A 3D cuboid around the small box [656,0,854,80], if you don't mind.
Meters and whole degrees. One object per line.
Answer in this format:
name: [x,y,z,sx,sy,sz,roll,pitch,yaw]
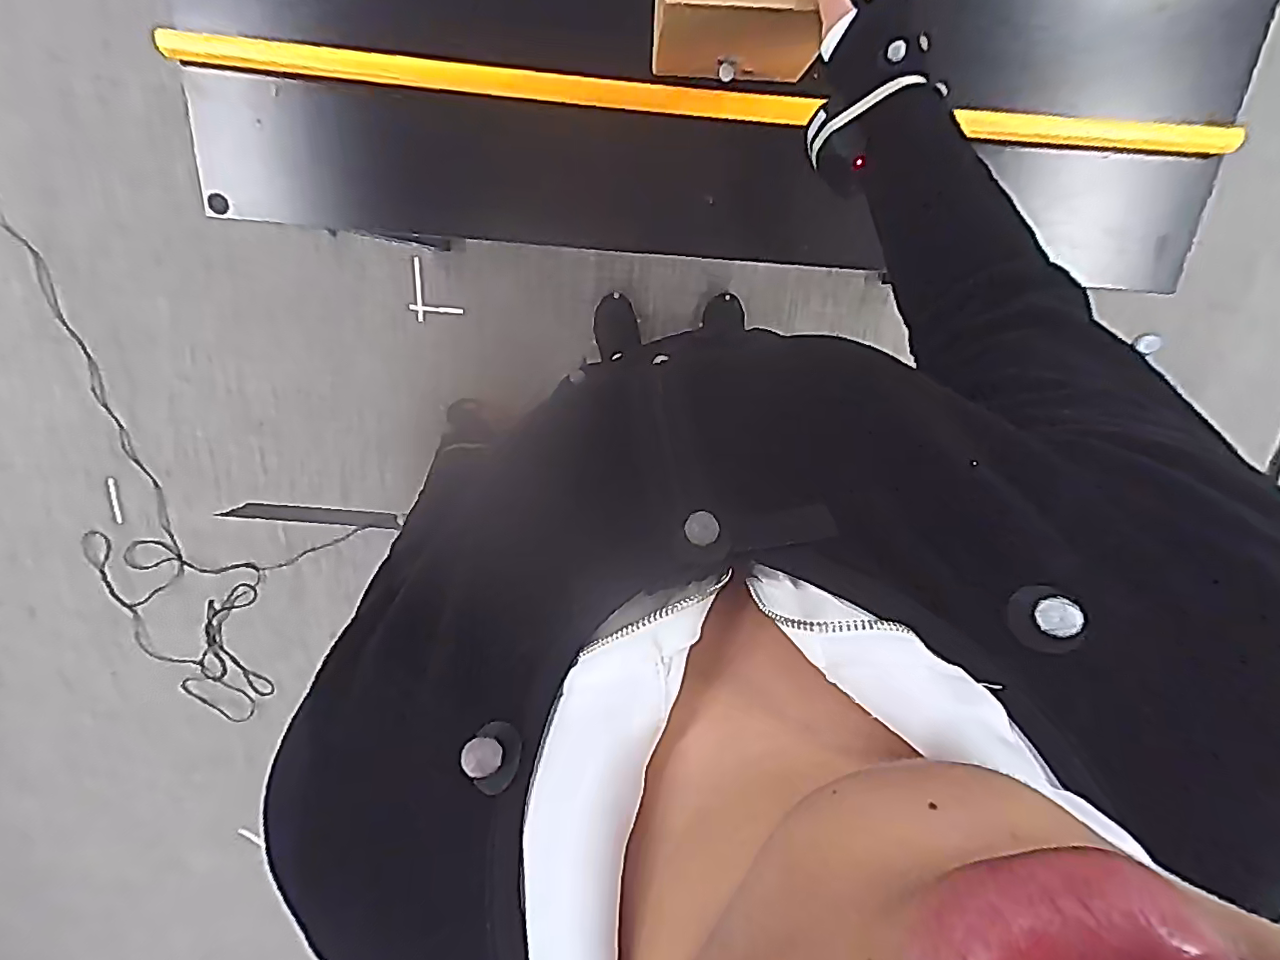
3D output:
small box: [0.104,-0.514,0.507,0.168,0.176,0.179,2,110,-2]
